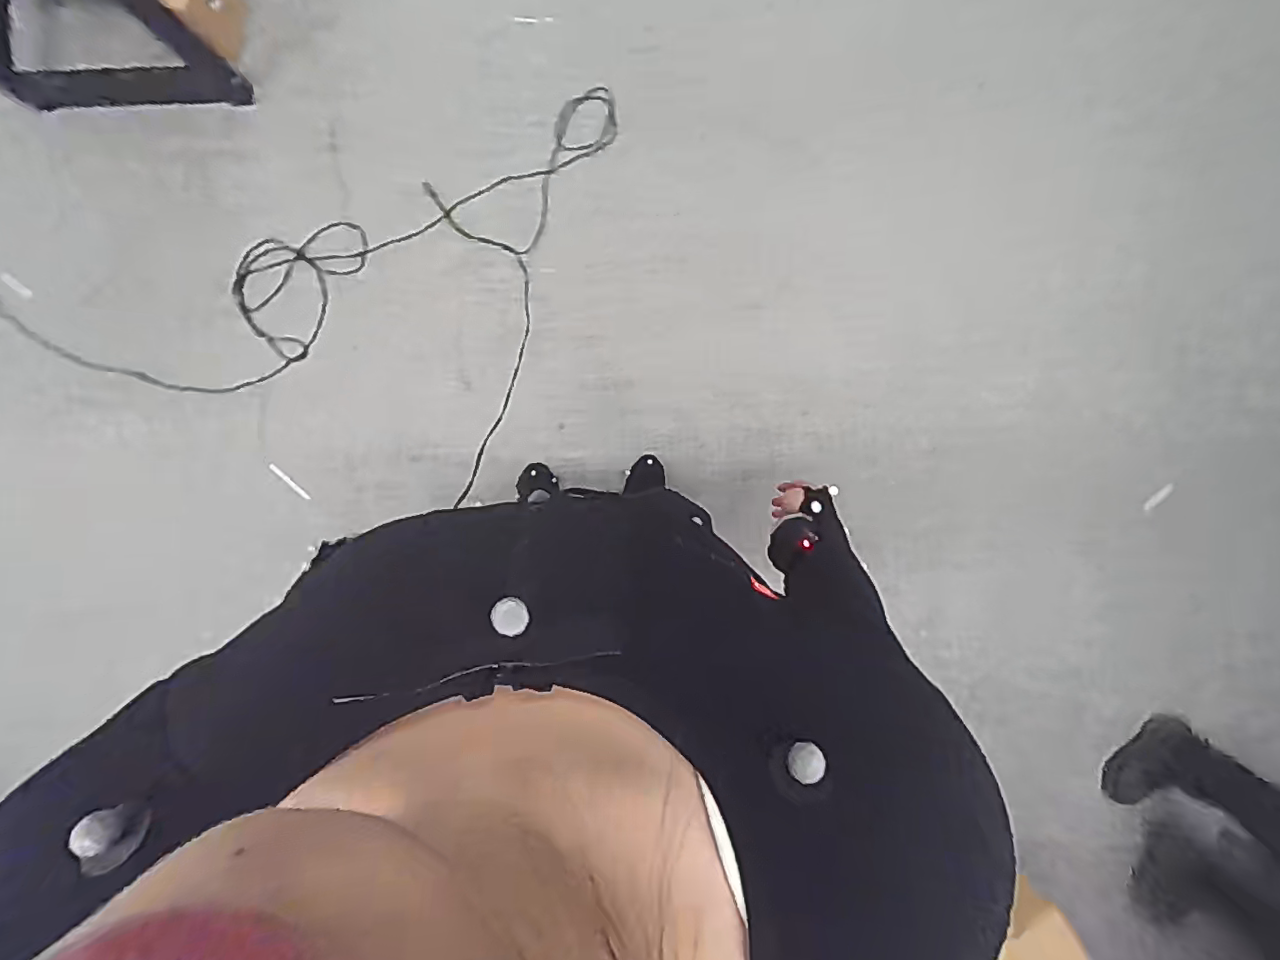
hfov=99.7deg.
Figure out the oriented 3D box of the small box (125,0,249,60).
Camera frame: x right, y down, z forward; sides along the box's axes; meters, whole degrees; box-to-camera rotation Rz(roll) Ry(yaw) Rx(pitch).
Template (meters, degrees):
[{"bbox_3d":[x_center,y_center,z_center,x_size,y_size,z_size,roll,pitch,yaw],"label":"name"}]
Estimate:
[{"bbox_3d":[-1.111,-1.195,1.338,0.168,0.176,0.179,11,94,-2],"label":"small box"}]
